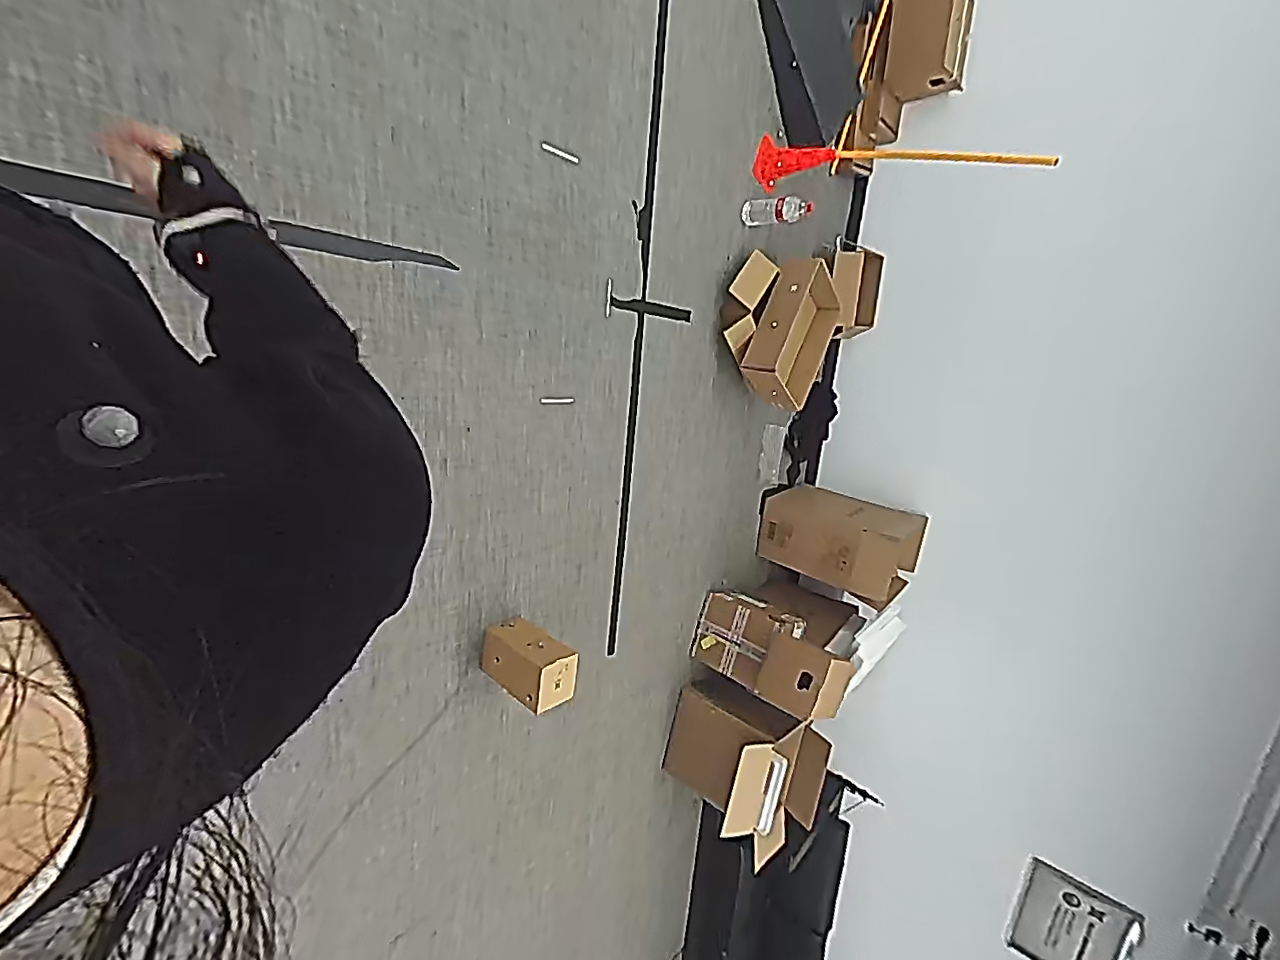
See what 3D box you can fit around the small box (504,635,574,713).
[{"bbox_3d":[-0.354,0.669,1.884,0.168,0.176,0.179,-5,107,-50],"label":"small box"}]
